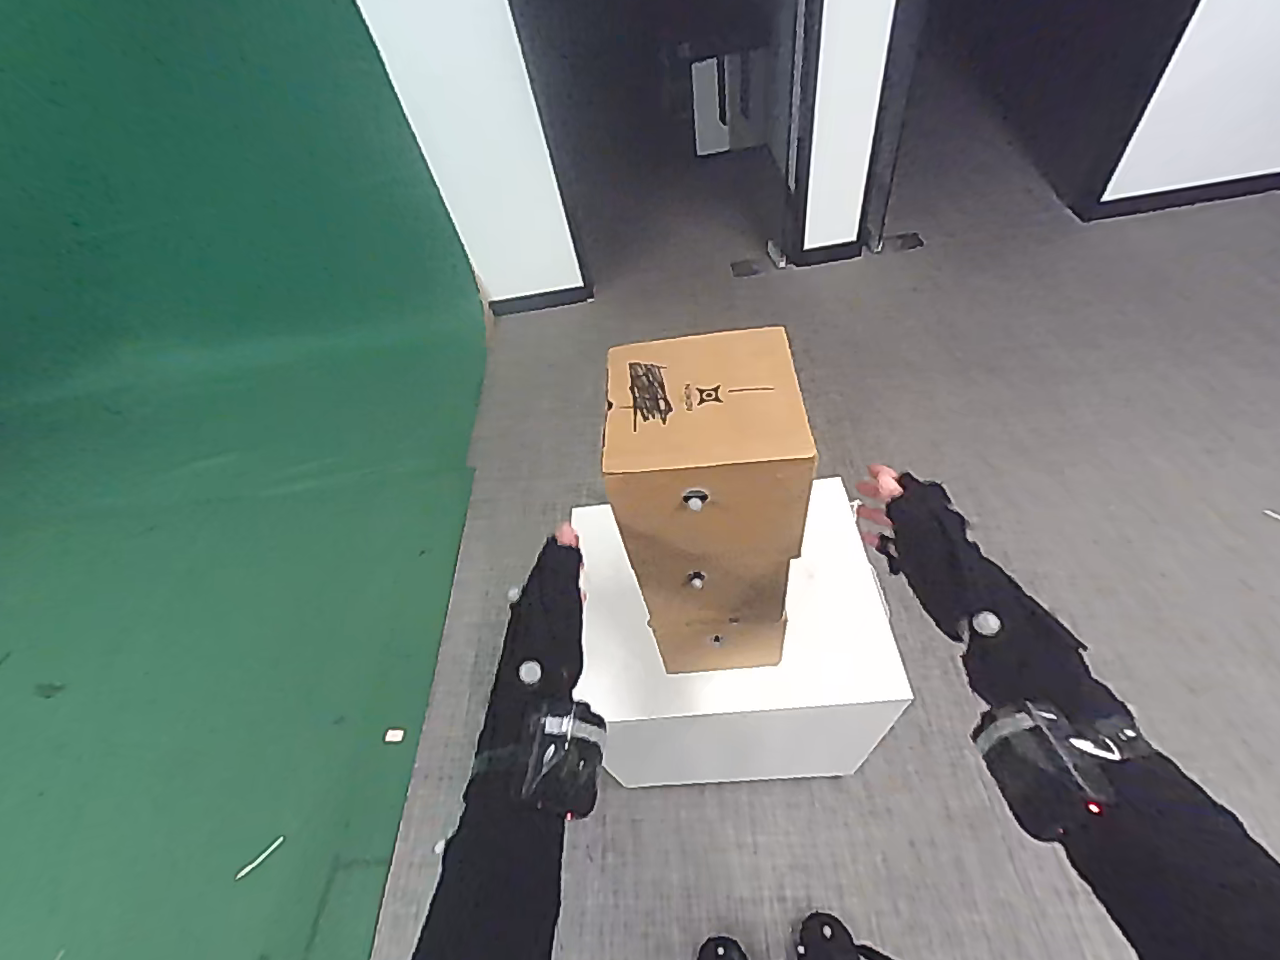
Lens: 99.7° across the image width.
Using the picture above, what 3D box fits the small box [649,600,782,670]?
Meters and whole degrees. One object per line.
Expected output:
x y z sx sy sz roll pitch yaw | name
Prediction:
0.109 0.176 0.812 0.179 0.176 0.168 -6 52 5 | small box

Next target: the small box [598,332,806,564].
0.064 -0.024 0.556 0.179 0.176 0.168 -5 52 7 | small box

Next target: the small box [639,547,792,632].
0.087 0.074 0.689 0.168 0.176 0.179 -7 52 5 | small box
